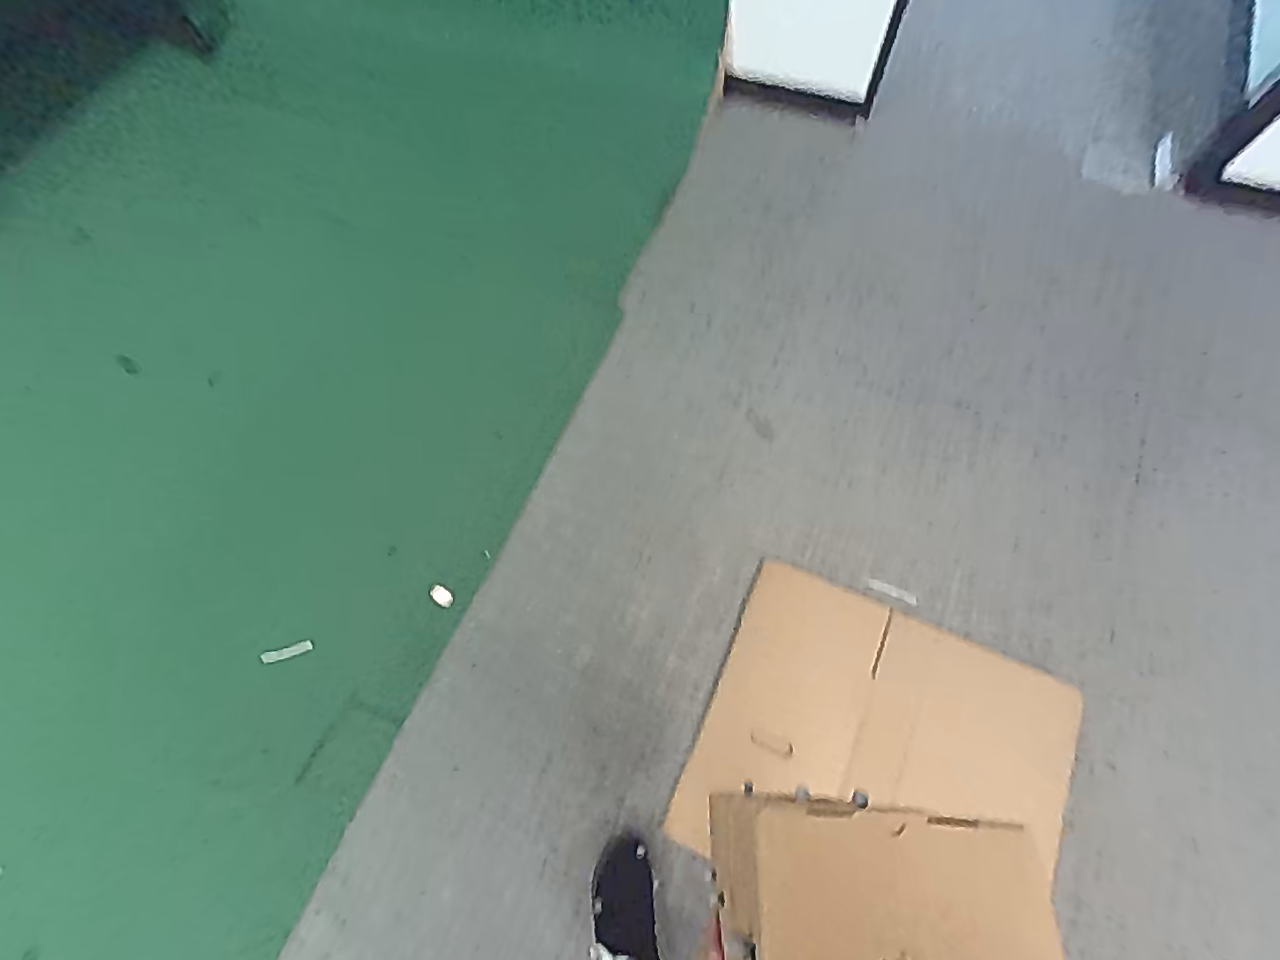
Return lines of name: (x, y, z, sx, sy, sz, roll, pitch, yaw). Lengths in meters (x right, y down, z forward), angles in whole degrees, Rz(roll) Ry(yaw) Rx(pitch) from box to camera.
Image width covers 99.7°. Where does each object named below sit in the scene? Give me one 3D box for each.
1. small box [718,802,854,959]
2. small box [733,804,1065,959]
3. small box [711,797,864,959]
small box: (0.158, 0.400, 0.491, 0.168, 0.176, 0.179, 0, 60, 5)
small box: (0.150, 0.319, 0.351, 0.168, 0.176, 0.179, 0, 60, 6)
small box: (0.172, 0.476, 0.635, 0.168, 0.176, 0.179, -1, 61, 5)
